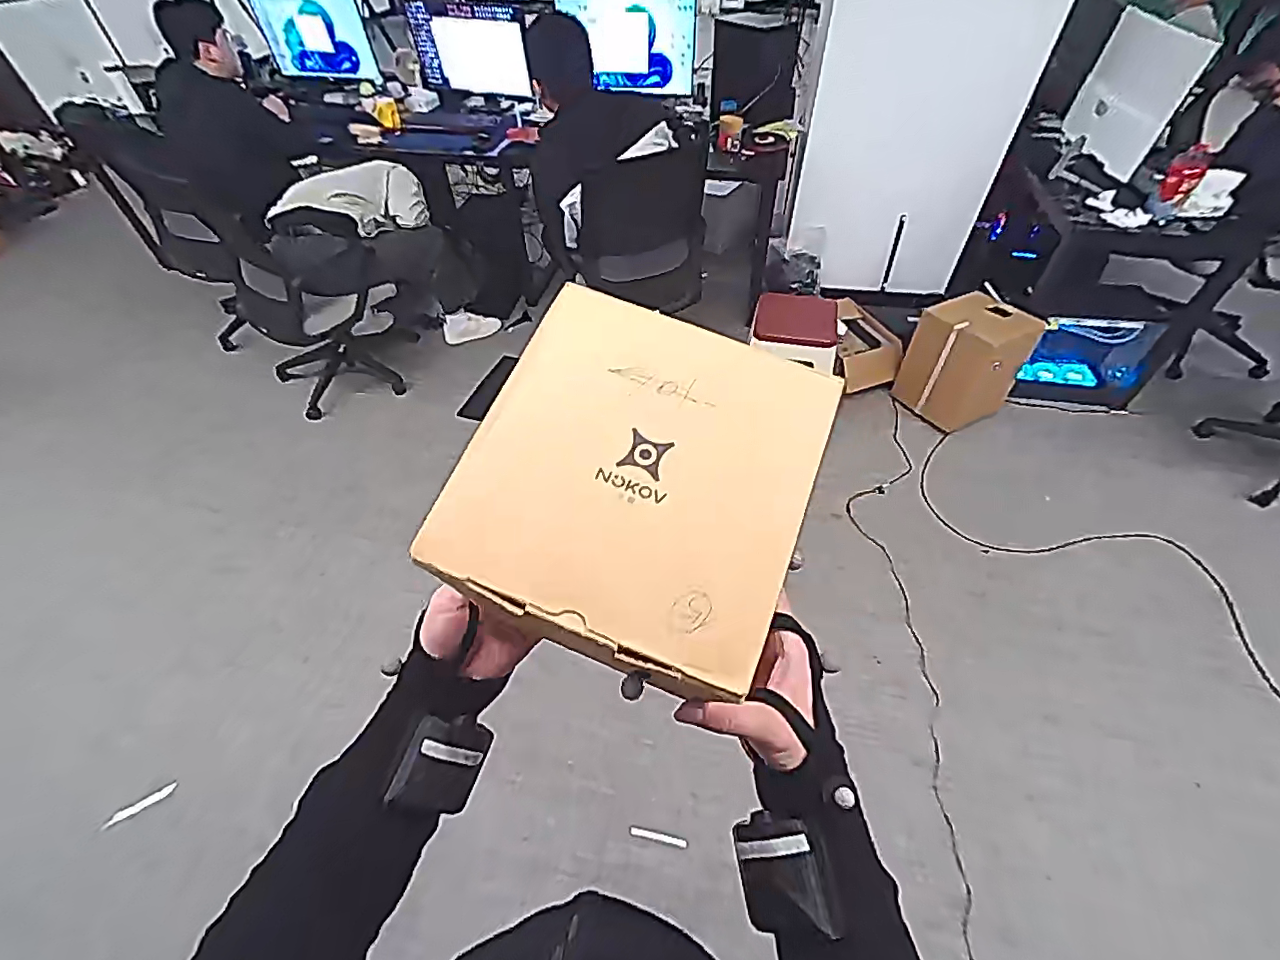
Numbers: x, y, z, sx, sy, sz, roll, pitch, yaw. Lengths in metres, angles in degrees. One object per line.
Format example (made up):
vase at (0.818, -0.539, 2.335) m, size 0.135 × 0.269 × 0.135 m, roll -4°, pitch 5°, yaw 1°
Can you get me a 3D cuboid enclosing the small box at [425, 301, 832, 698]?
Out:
small box at (-0.001, 0.026, 0.355) m, size 0.168 × 0.176 × 0.179 m, roll 21°, pitch 68°, yaw 5°
